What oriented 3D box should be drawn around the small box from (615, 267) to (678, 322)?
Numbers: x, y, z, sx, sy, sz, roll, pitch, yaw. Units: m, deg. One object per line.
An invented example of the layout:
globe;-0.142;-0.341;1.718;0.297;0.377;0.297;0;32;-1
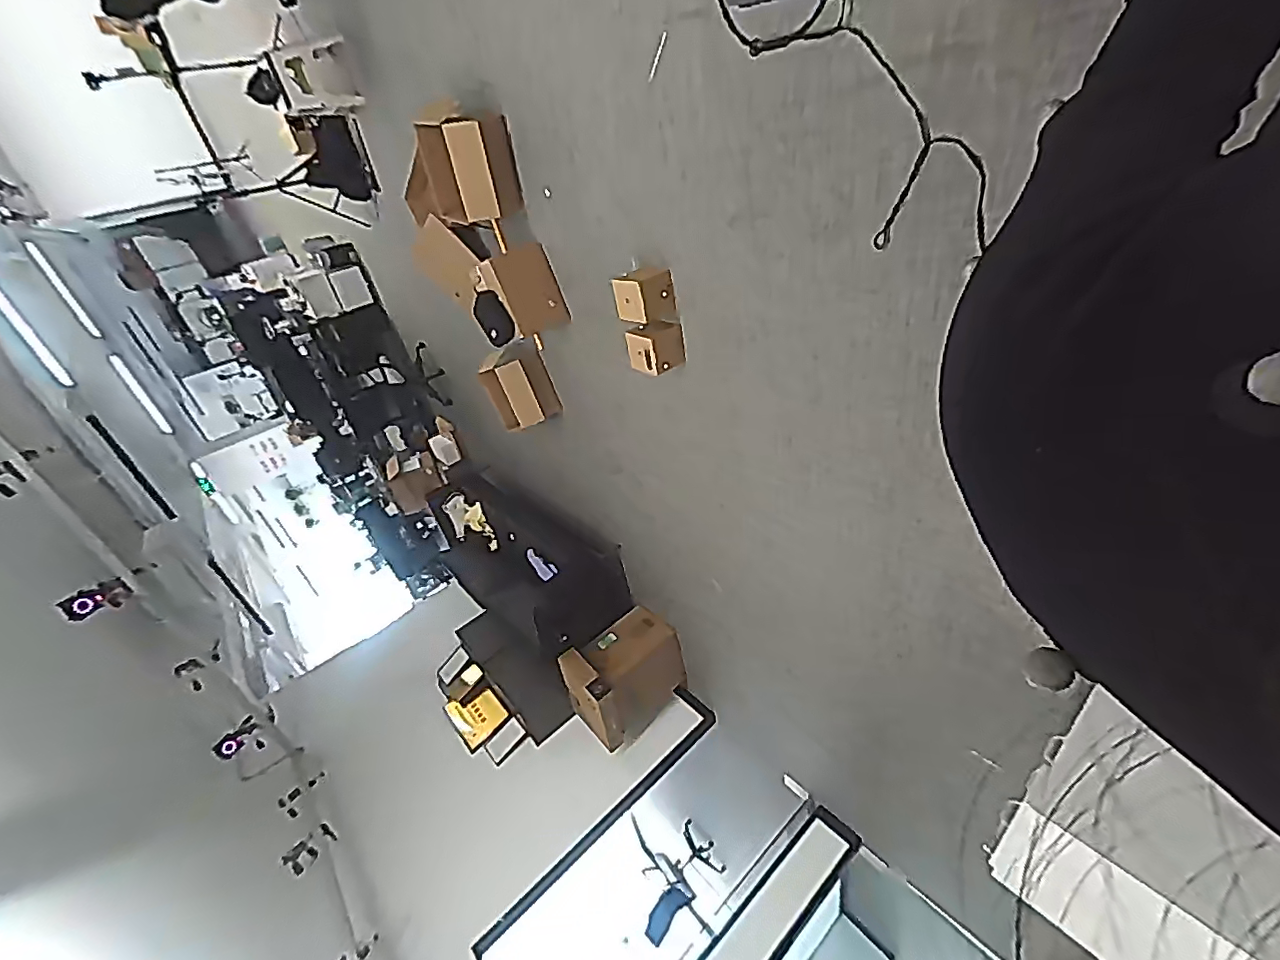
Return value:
small box;0.029;-0.758;2.202;0.179;0.176;0.168;26;140;45
